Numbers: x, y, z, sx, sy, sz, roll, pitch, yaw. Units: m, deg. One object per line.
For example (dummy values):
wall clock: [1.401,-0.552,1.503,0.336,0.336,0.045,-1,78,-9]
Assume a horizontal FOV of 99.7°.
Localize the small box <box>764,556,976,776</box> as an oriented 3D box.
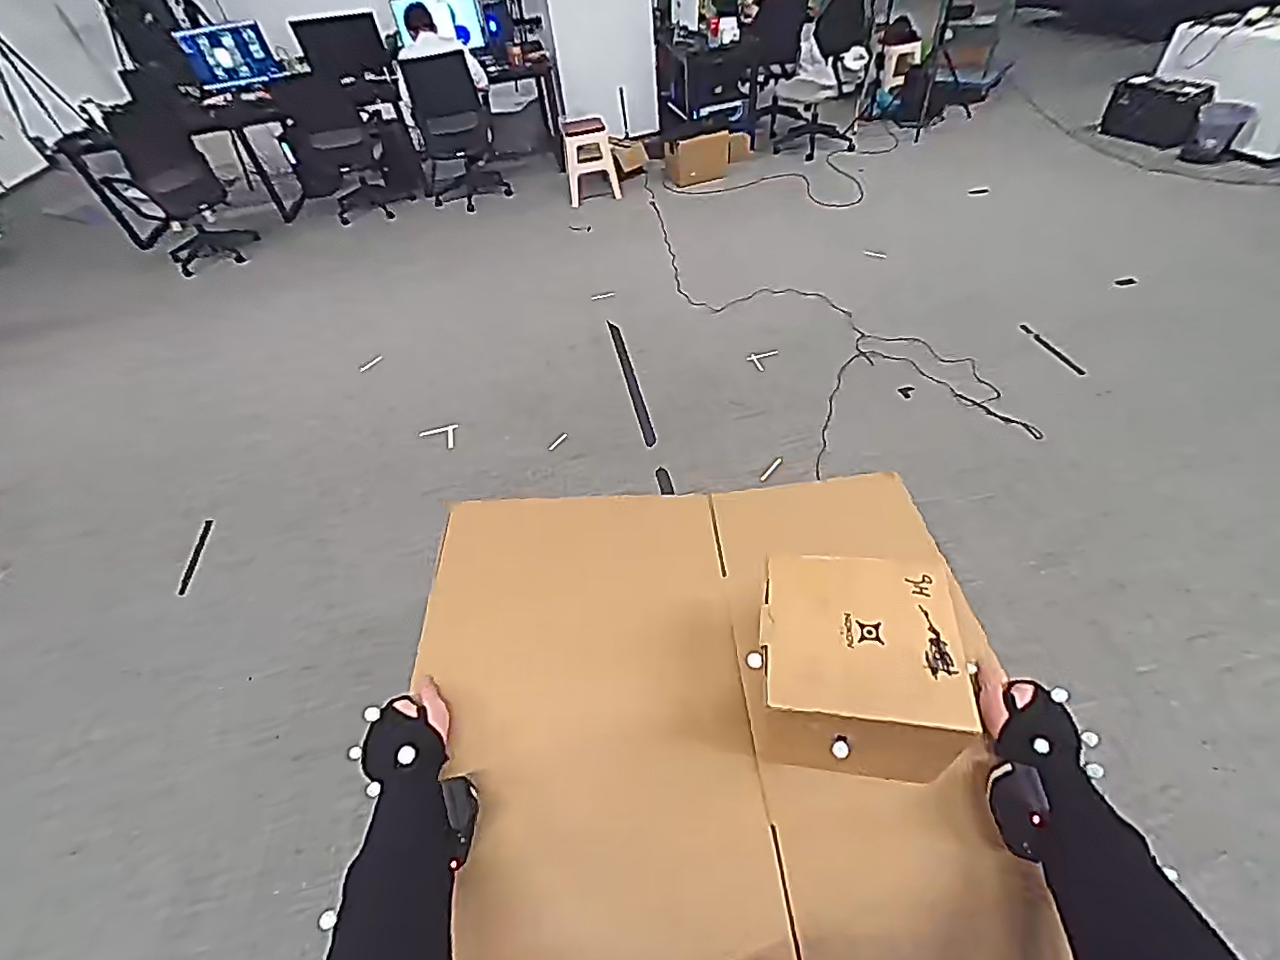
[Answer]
small box: [0.226,0.199,0.580,0.179,0.176,0.168,1,48,14]
